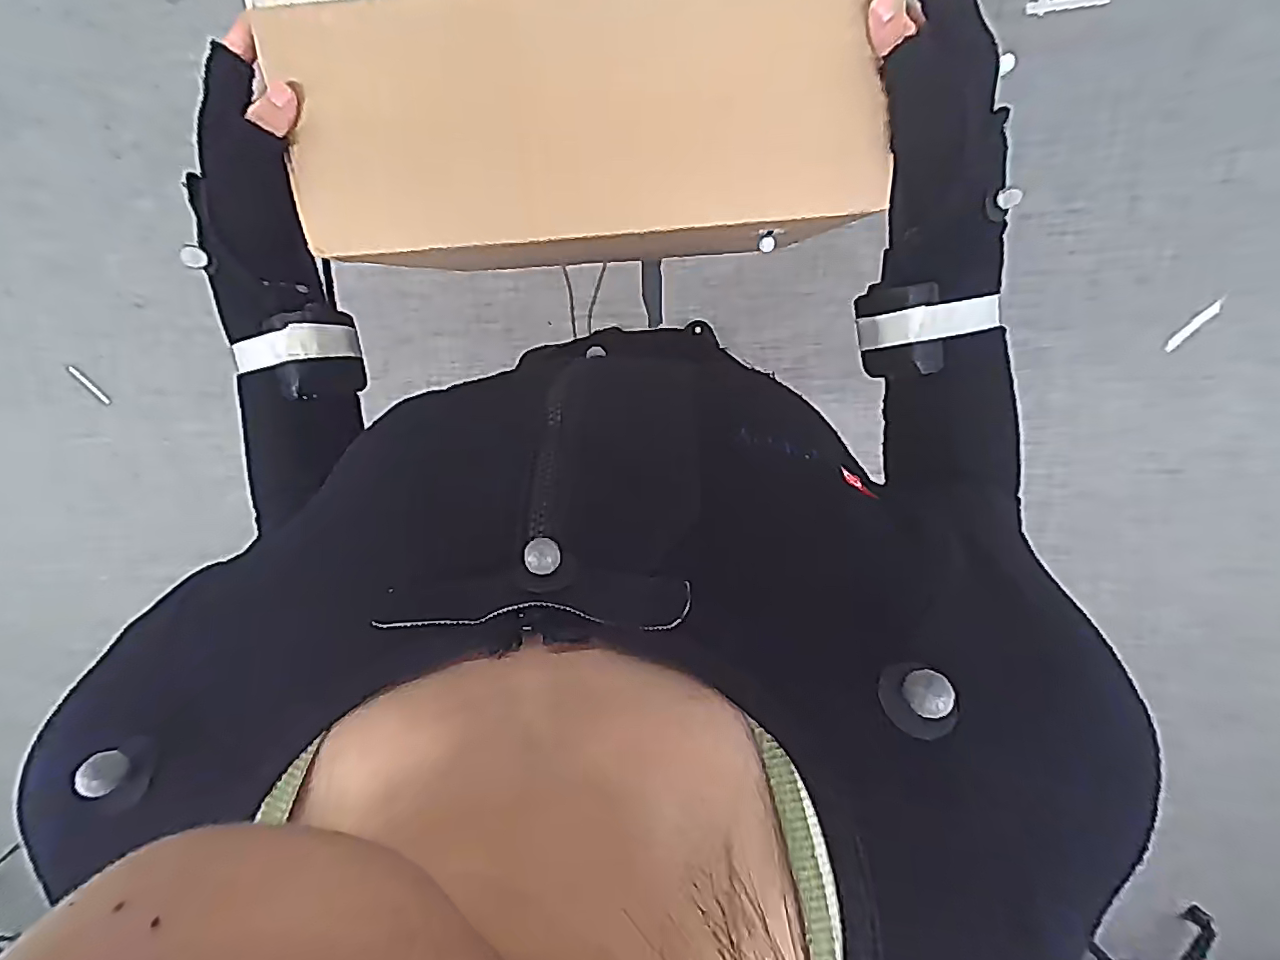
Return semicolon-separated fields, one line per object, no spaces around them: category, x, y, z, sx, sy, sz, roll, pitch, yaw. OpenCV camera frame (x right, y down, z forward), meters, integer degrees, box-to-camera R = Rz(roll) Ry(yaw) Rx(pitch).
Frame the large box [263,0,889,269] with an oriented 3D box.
large box;-0.039;-0.369;0.476;0.408;0.320;0.320;-4;109;2
